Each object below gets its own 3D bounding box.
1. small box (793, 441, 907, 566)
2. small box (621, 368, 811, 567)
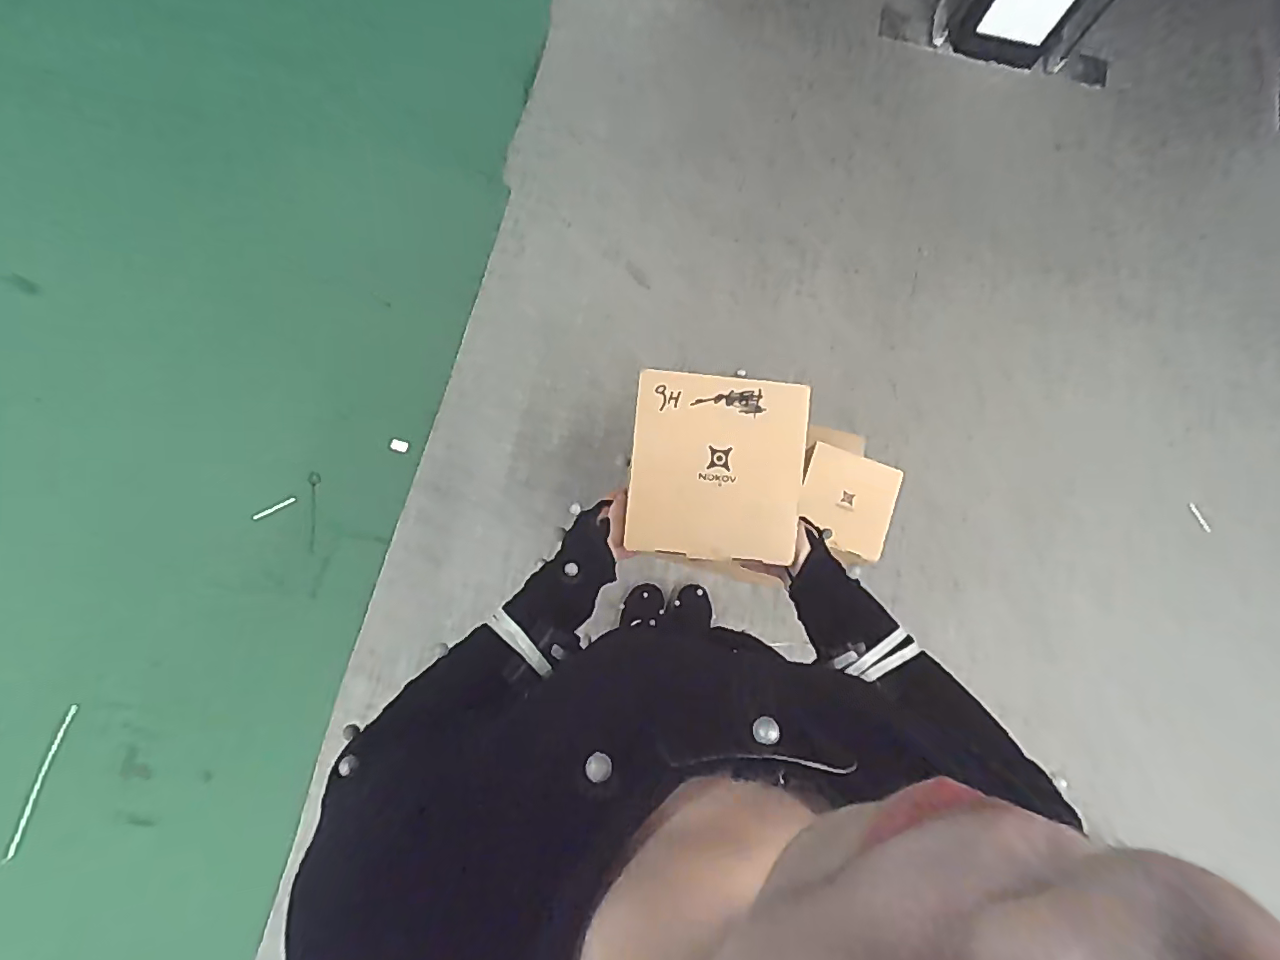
[{"bbox_3d":[0.364,0.052,1.018,0.168,0.176,0.179,20,79,3],"label":"small box"},{"bbox_3d":[0.070,-0.013,0.588,0.168,0.176,0.179,5,91,-2],"label":"small box"}]
